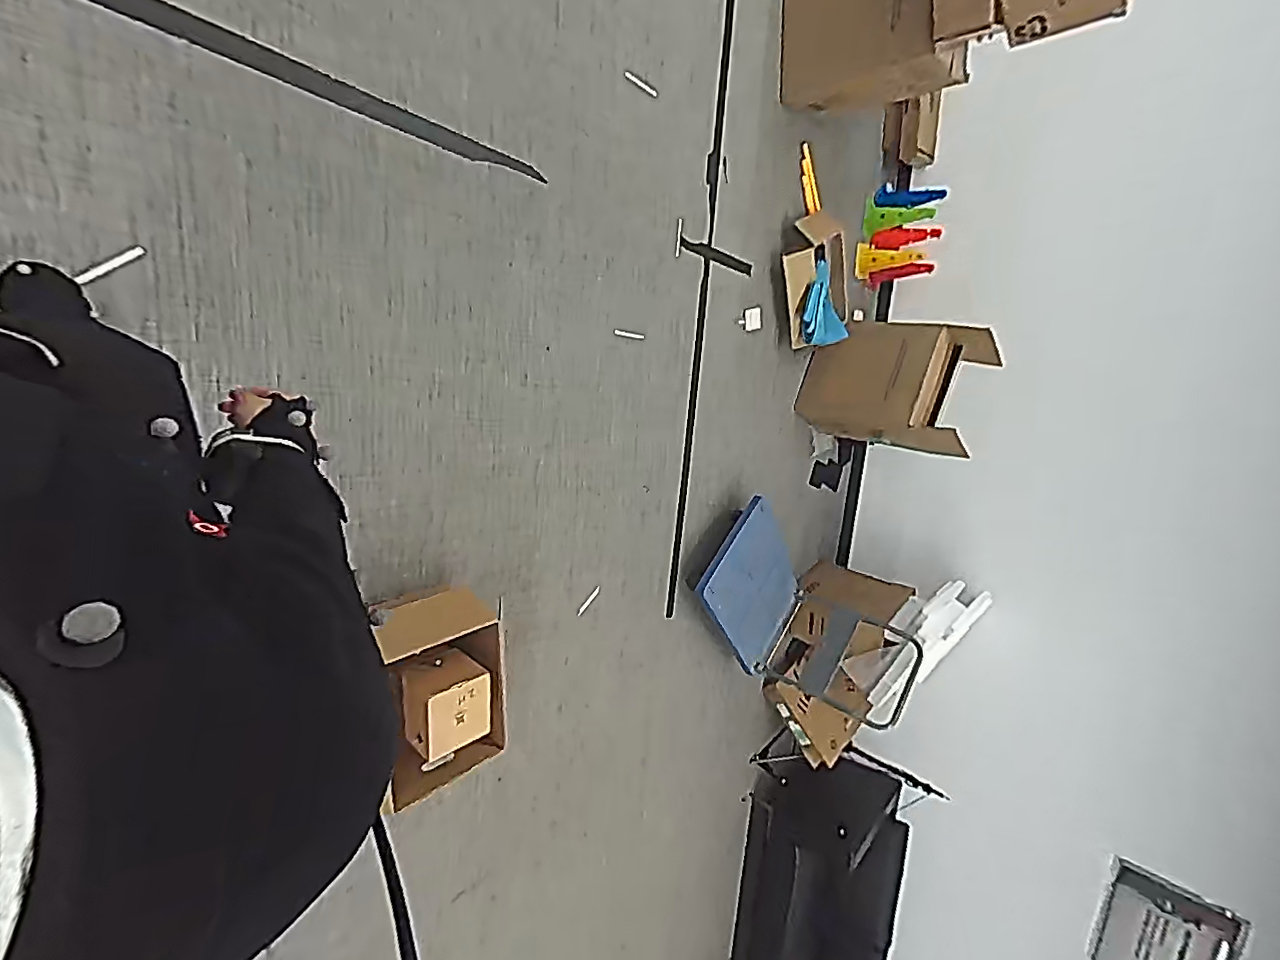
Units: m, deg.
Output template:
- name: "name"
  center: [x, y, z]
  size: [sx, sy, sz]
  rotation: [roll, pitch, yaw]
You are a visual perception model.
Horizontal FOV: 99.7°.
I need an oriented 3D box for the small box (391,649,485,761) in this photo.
- name: "small box"
  center: [-0.510, 0.556, 1.360]
  size: [0.168, 0.176, 0.179]
  rotation: [-9, 107, -48]
